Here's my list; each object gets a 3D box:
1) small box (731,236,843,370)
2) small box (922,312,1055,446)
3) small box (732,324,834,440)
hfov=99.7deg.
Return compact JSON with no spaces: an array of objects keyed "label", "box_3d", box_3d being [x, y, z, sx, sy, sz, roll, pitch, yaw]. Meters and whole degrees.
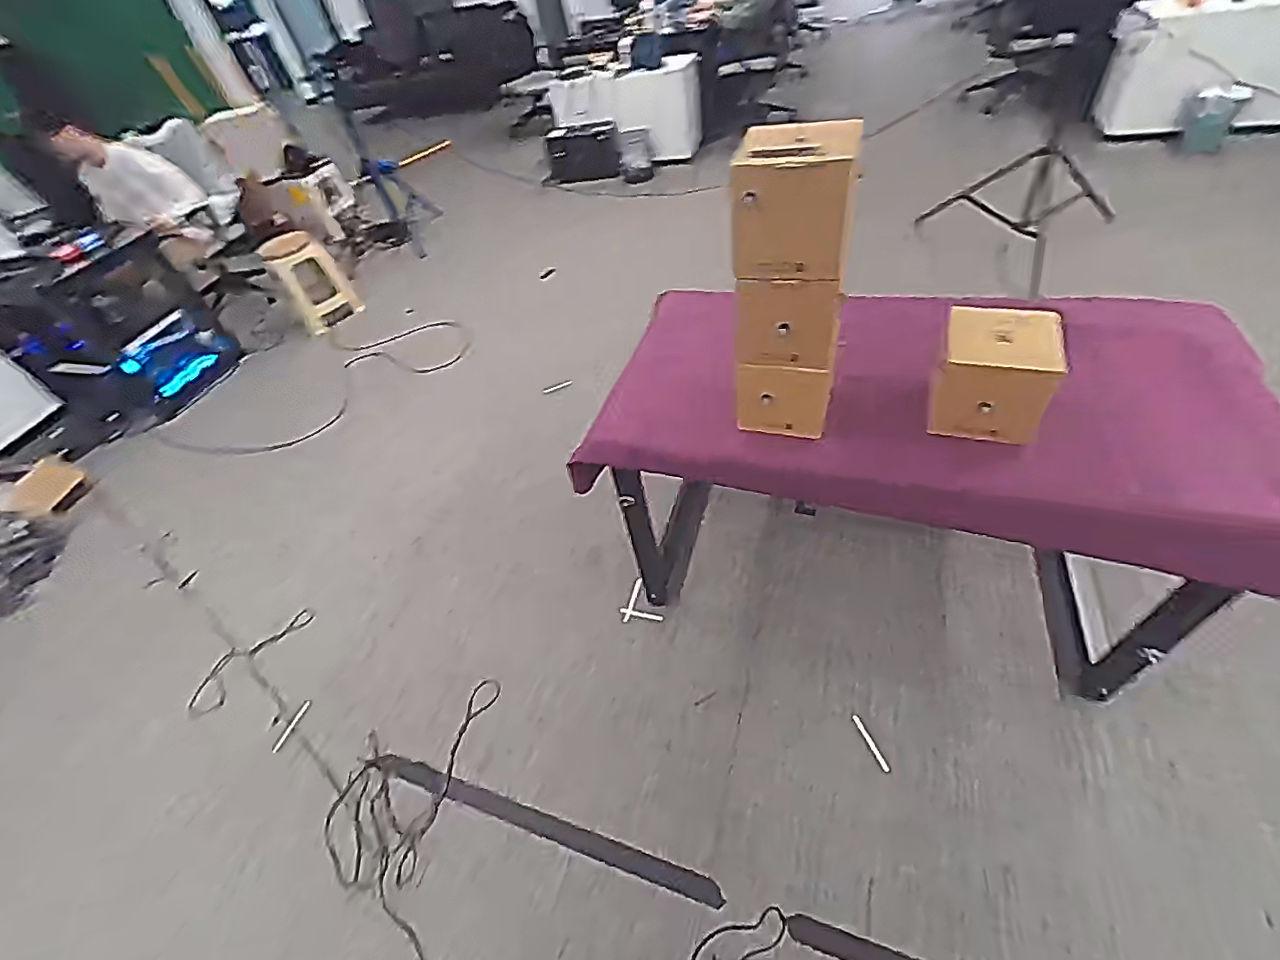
[{"label":"small box","box_3d":[0.262,-0.314,0.966,0.168,0.176,0.179,8,50,17]},{"label":"small box","box_3d":[0.631,-0.185,0.996,0.168,0.176,0.179,11,51,20]},{"label":"small box","box_3d":[0.286,-0.200,1.081,0.168,0.176,0.179,9,50,19]}]
